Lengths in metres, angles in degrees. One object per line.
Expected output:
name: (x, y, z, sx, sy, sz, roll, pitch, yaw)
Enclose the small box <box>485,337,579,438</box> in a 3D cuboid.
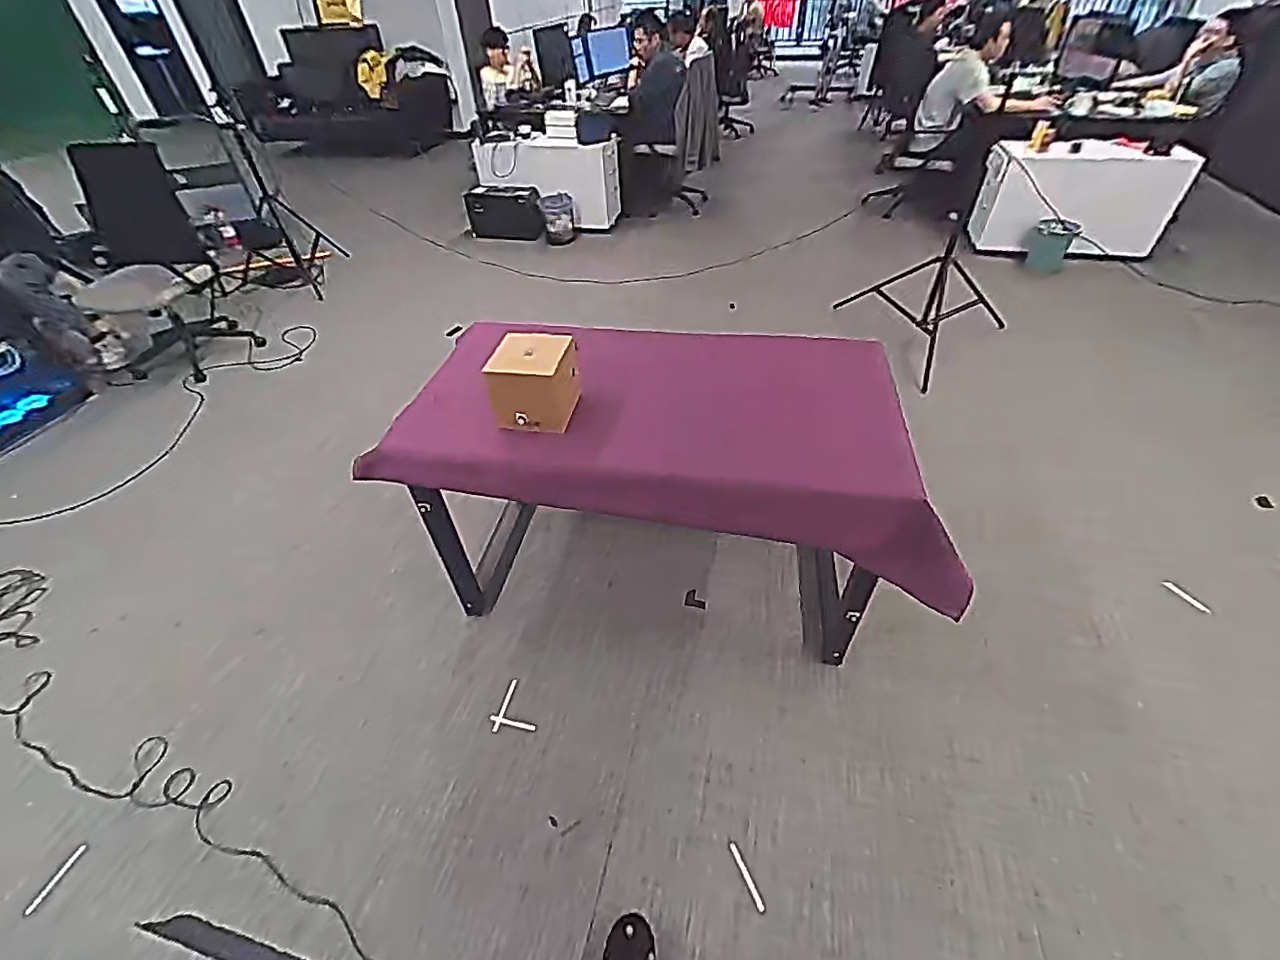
small box: (-0.248, -0.224, 1.295, 0.168, 0.176, 0.179, 4, 44, 9)
